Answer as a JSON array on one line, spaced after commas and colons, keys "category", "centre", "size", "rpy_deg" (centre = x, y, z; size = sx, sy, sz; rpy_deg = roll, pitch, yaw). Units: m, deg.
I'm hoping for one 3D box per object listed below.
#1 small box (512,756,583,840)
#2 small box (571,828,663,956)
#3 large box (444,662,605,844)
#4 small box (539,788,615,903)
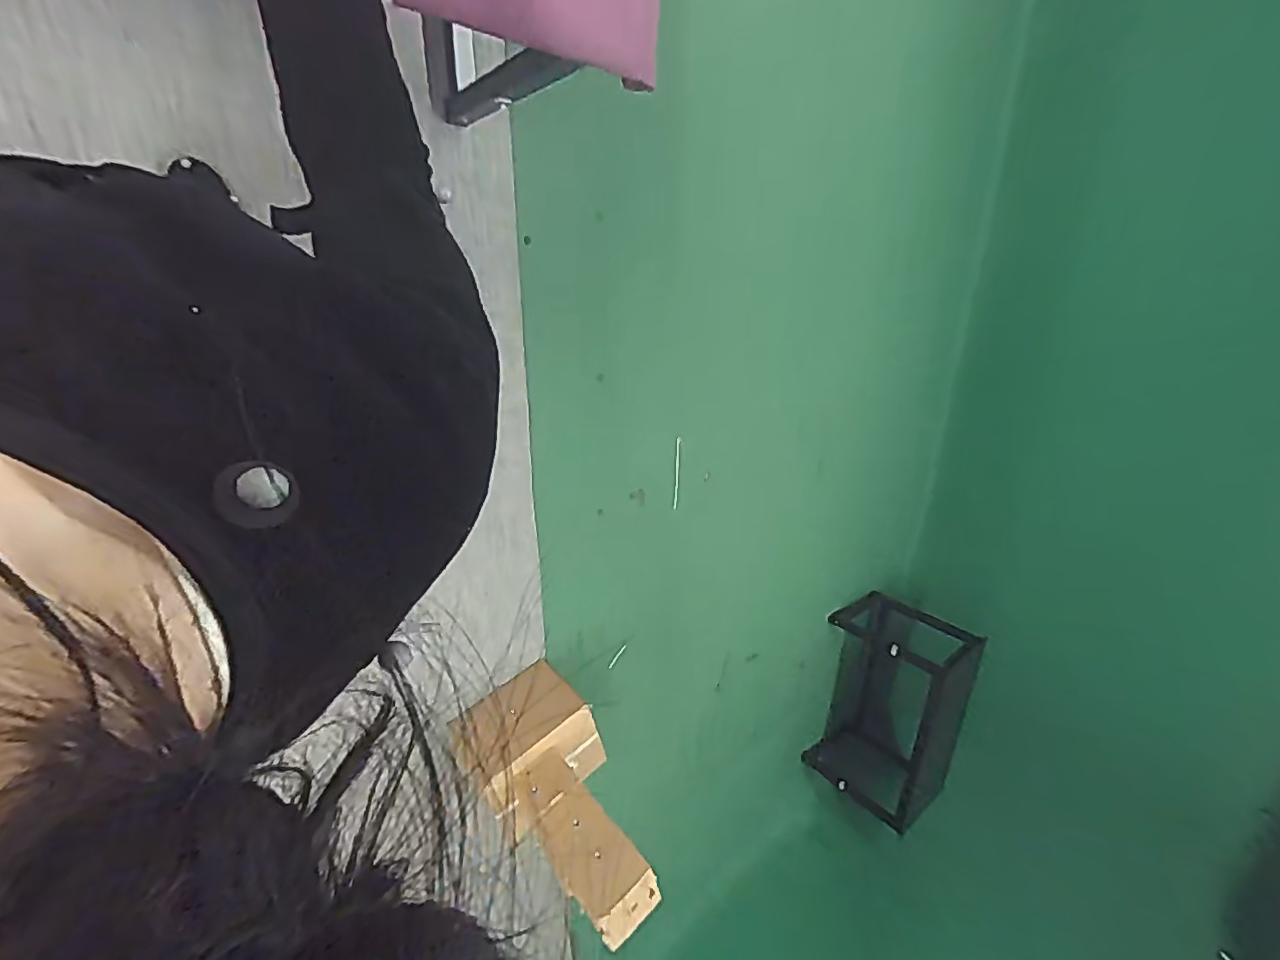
[{"category": "small box", "centre": [-0.274, 1.000, 1.682], "size": [0.168, 0.176, 0.179], "rpy_deg": [-29, 123, -30]}, {"category": "small box", "centre": [-0.066, 1.092, 1.445], "size": [0.179, 0.176, 0.168], "rpy_deg": [-29, 123, -29]}, {"category": "large box", "centre": [-0.395, 0.928, 1.886], "size": [0.408, 0.320, 0.320], "rpy_deg": [-31, 125, -31]}, {"category": "small box", "centre": [-0.173, 1.047, 1.563], "size": [0.179, 0.176, 0.168], "rpy_deg": [-31, 123, -30]}]
